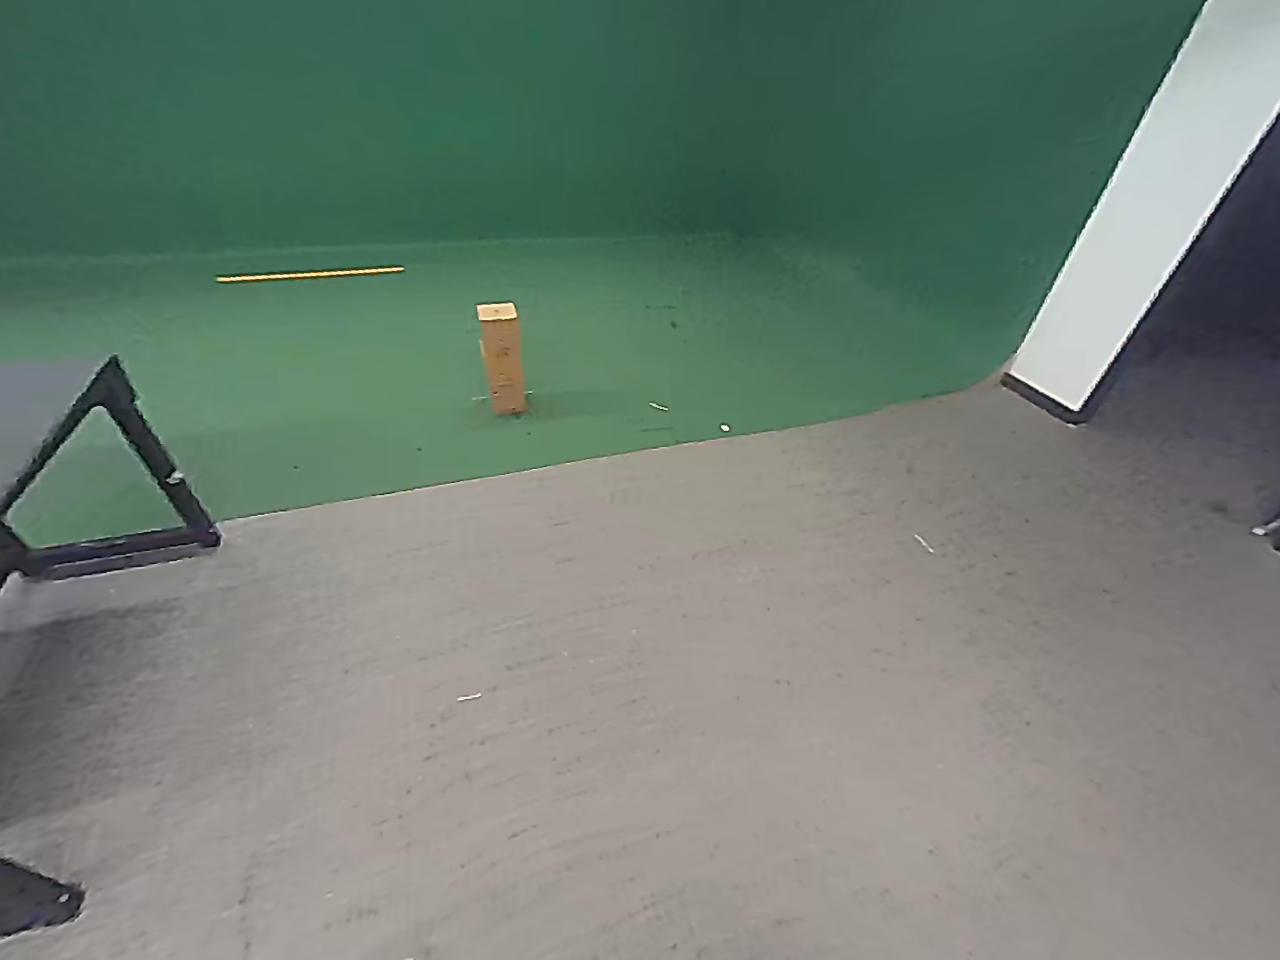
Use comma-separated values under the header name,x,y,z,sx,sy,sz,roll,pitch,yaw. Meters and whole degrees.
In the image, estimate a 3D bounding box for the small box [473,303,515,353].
name,x,y,z,sx,sy,sz,roll,pitch,yaw
small box,-0.678,-0.708,2.514,0.168,0.176,0.179,-9,41,-17

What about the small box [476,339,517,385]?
name,x,y,z,sx,sy,sz,roll,pitch,yaw
small box,-0.694,-0.576,2.612,0.168,0.176,0.179,-10,41,-18
